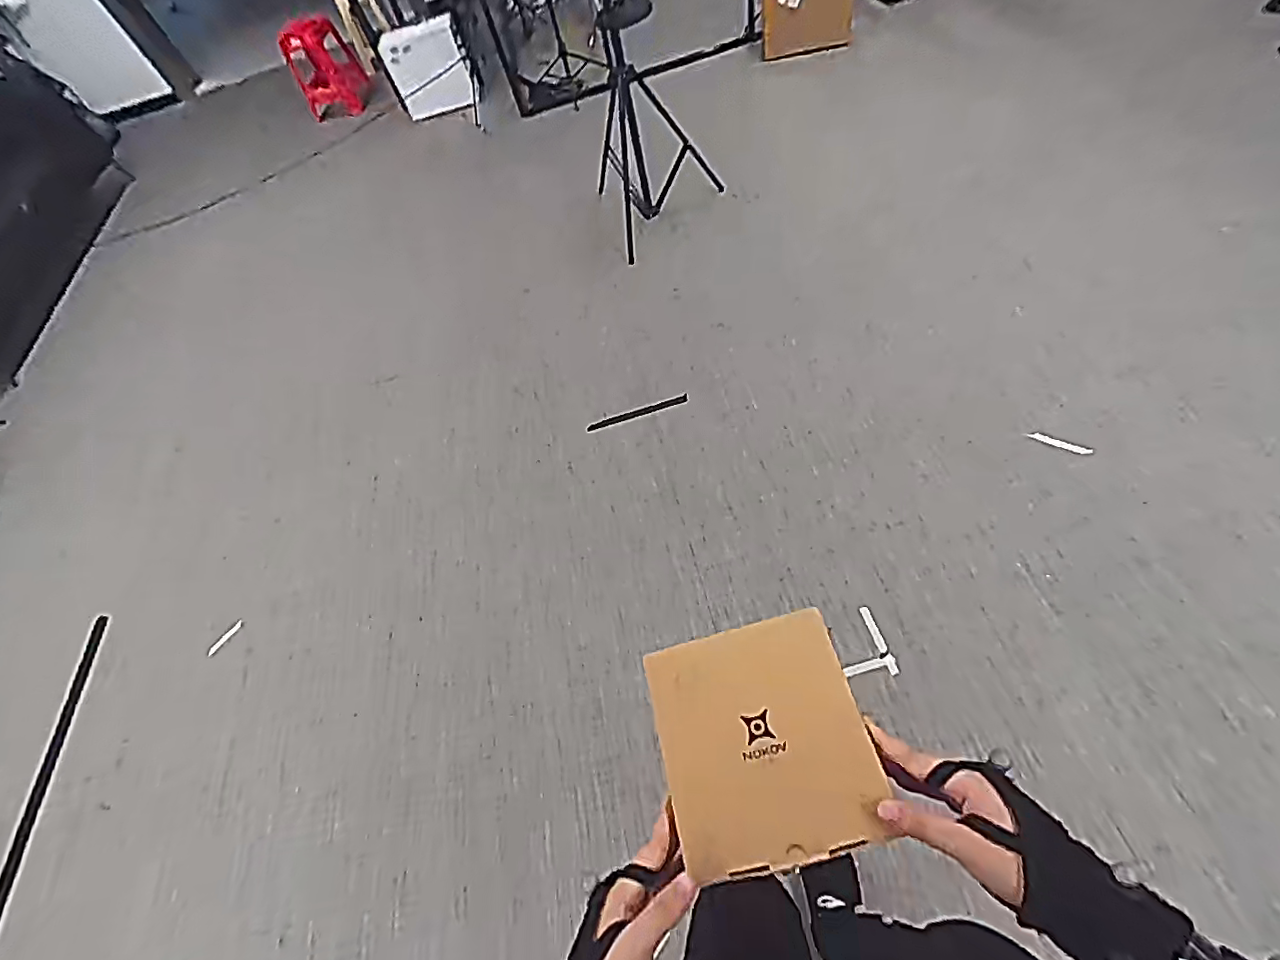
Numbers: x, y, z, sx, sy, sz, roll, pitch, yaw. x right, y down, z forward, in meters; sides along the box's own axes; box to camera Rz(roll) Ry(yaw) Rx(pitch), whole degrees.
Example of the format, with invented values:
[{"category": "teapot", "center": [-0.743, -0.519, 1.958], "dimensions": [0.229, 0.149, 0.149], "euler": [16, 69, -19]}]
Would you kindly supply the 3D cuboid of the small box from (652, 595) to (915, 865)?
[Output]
[{"category": "small box", "center": [0.119, 0.234, 0.504], "dimensions": [0.168, 0.176, 0.179], "euler": [-17, 56, 4]}]
